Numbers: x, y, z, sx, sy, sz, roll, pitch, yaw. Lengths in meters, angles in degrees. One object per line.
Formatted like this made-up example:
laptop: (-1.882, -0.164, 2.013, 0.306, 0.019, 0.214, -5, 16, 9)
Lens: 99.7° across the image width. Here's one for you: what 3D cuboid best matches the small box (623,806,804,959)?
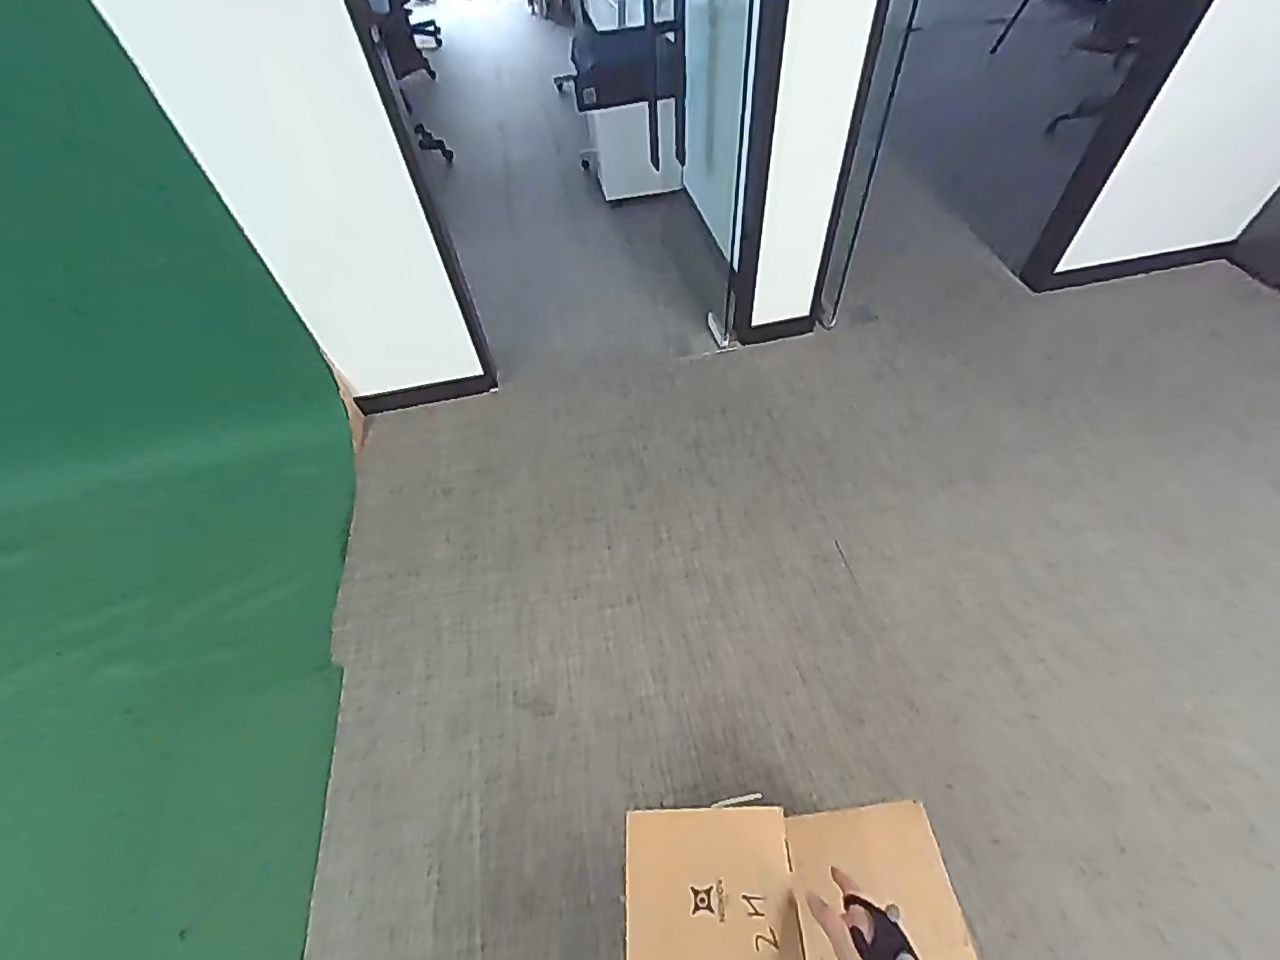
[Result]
small box: (0.076, 0.477, 0.611, 0.179, 0.176, 0.168, -3, 51, 2)
